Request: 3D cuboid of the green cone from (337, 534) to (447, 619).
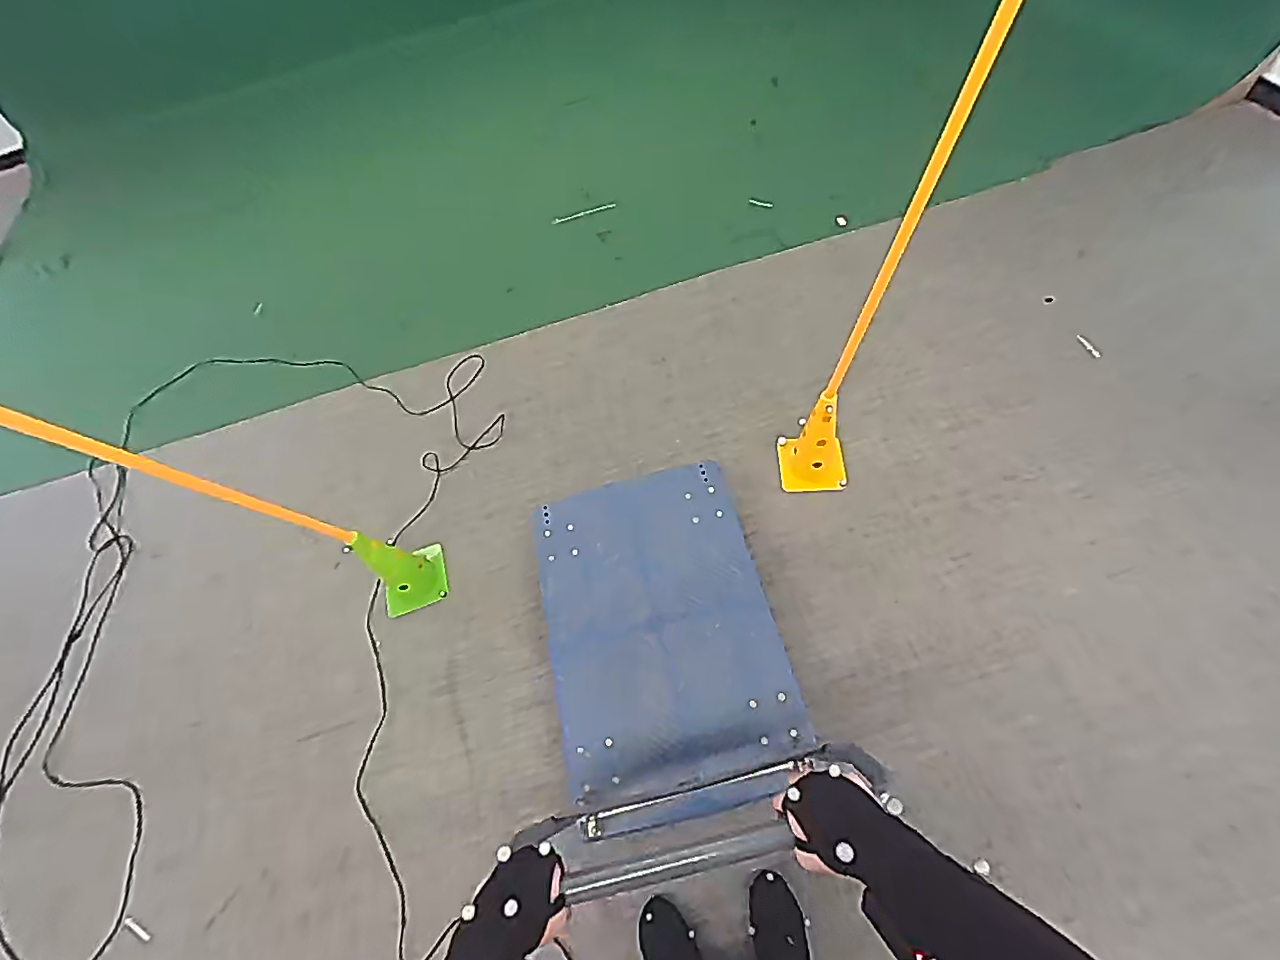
[{"bbox_3d":[-0.756,0.243,1.598,0.202,0.368,0.200,-22,59,-1],"label":"green cone"}]
